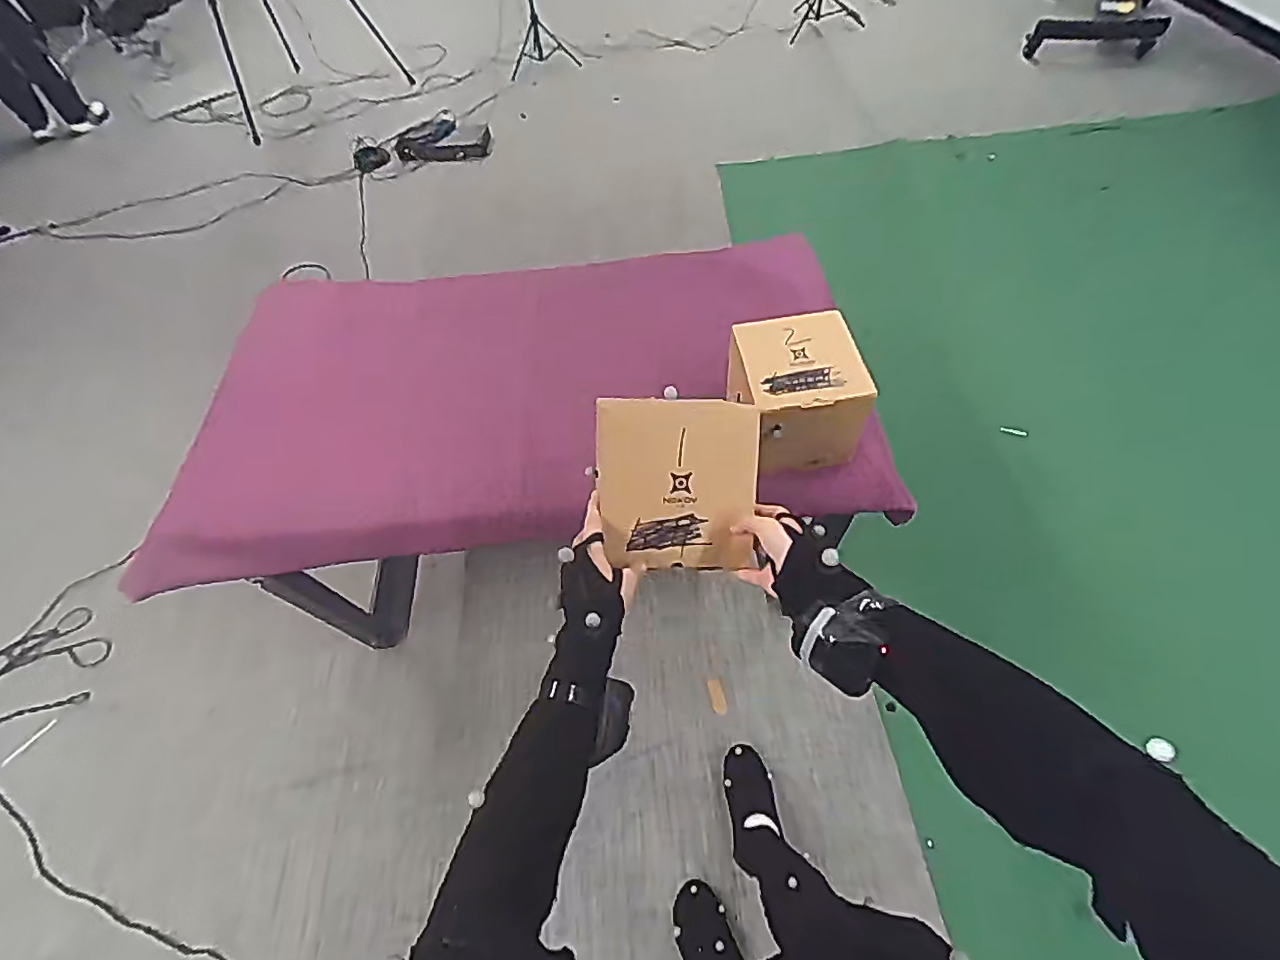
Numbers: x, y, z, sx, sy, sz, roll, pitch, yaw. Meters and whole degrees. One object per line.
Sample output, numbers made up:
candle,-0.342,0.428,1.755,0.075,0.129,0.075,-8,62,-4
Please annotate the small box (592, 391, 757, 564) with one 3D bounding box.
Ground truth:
small box,0.029,-0.012,0.634,0.168,0.176,0.179,0,100,-6
